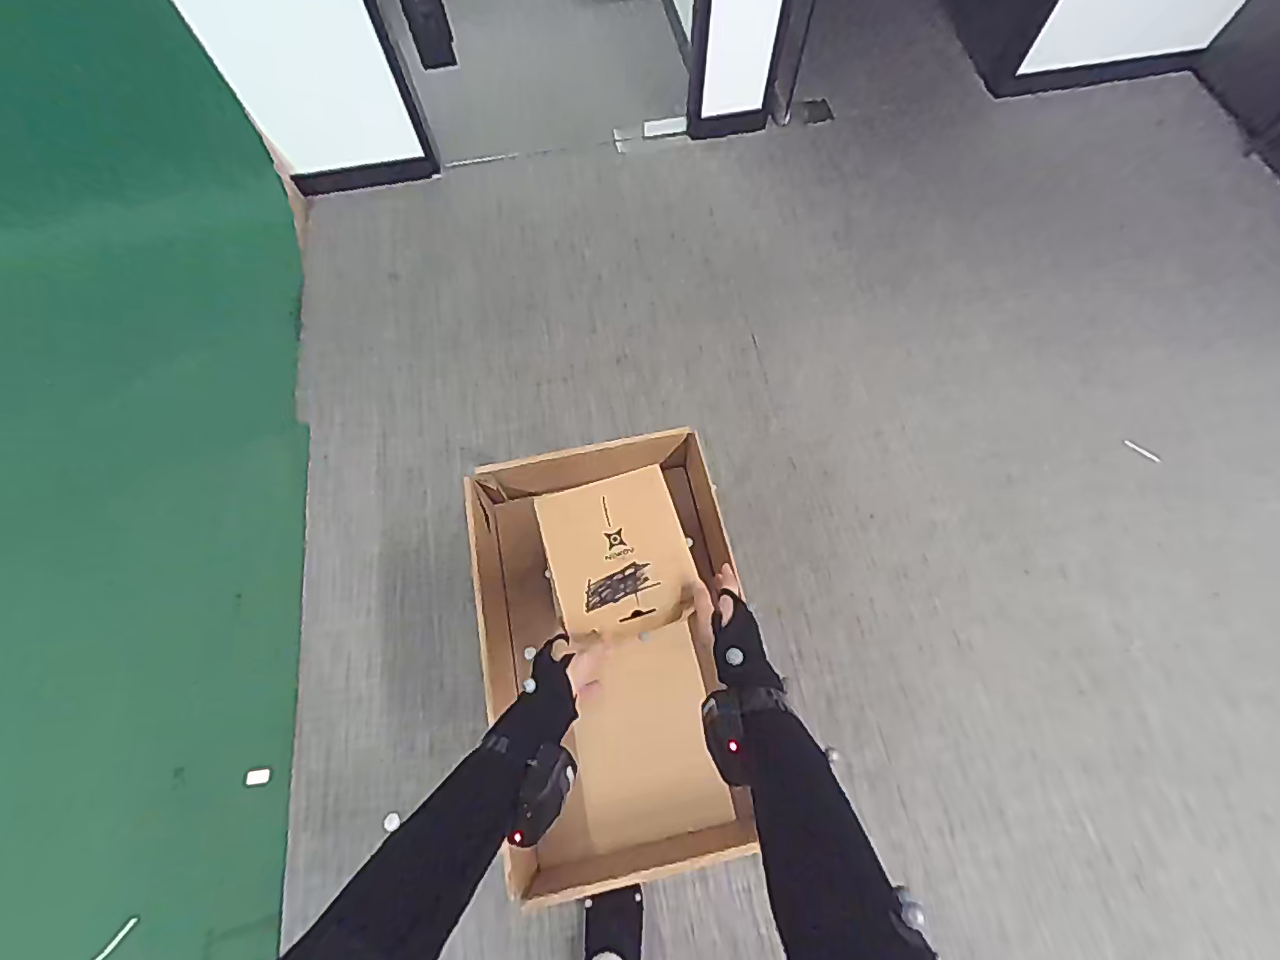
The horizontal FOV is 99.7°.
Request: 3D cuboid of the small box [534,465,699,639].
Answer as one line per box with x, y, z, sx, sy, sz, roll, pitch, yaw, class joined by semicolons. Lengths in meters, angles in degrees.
-0.029;0.106;0.723;0.168;0.176;0.179;-16;70;-6;small box
